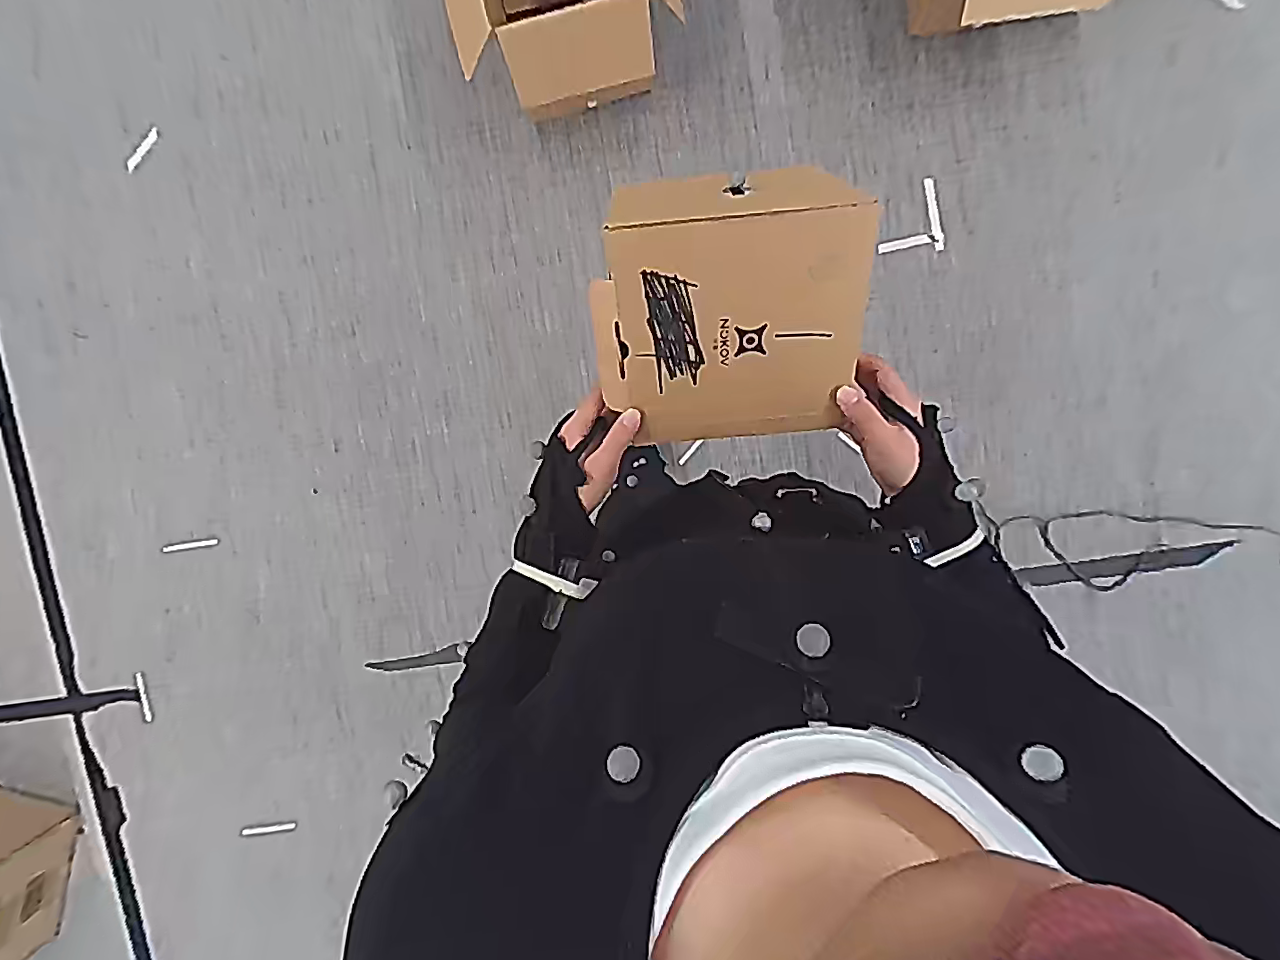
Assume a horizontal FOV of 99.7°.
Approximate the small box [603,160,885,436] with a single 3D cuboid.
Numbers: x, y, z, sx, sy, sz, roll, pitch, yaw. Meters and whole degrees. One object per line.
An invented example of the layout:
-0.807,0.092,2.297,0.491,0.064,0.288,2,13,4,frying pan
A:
0.069,-0.153,0.443,0.179,0.176,0.168,-5,127,2,small box
